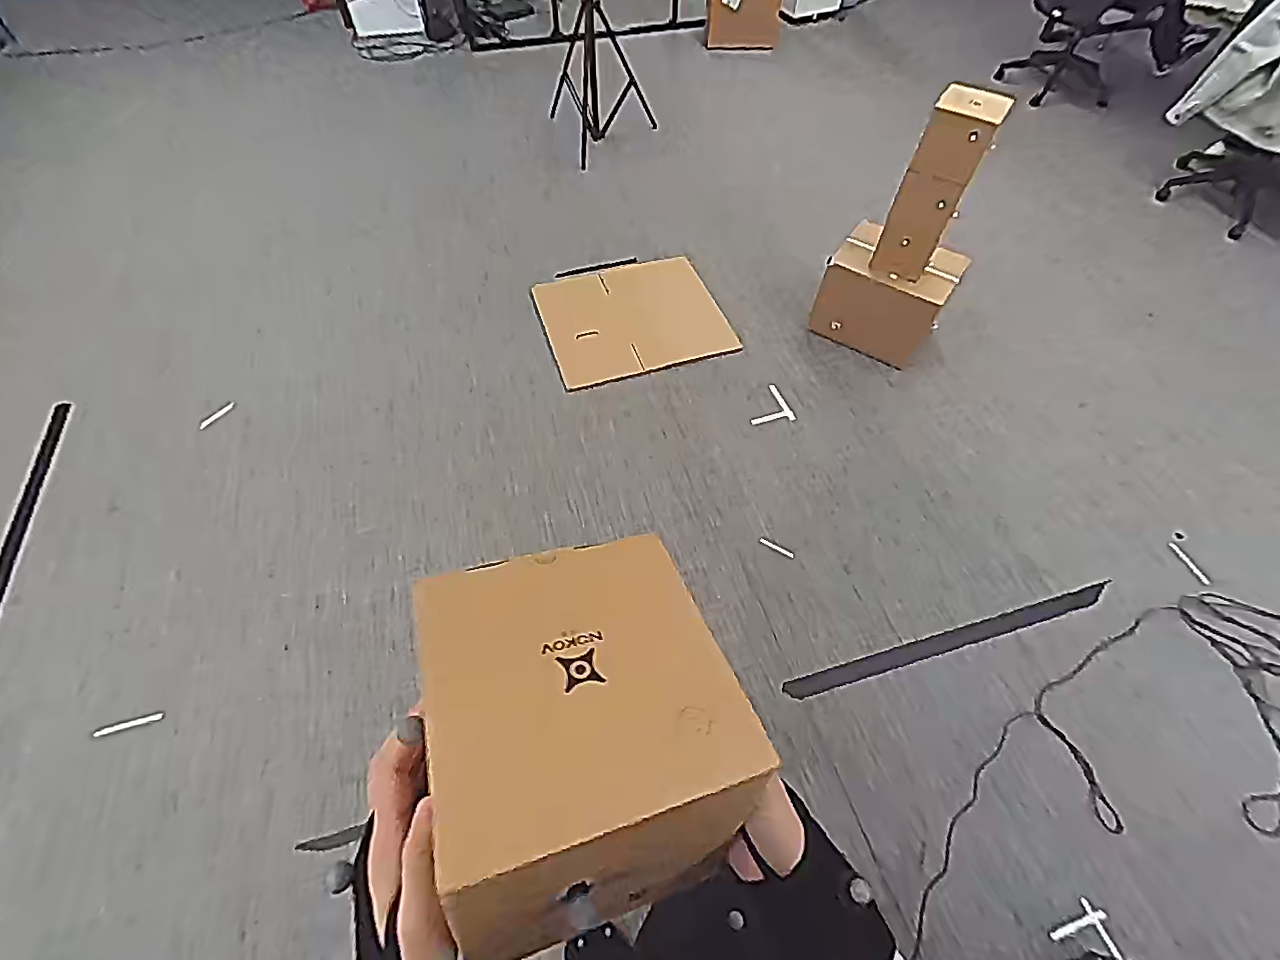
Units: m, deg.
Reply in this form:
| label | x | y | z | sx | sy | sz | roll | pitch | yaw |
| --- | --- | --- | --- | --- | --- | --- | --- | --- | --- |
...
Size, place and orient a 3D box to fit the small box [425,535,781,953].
| label | x | y | z | sx | sy | sz | roll | pitch | yaw |
| --- | --- | --- | --- | --- | --- | --- | --- | --- | --- |
| small box | -0.038 | 0.167 | 0.355 | 0.168 | 0.176 | 0.179 | -9 | 40 | -20 |

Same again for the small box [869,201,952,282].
| label | x | y | z | sx | sy | sz | roll | pitch | yaw |
| --- | --- | --- | --- | --- | --- | --- | --- | --- | --- |
| small box | 0.900 | -0.796 | 1.816 | 0.179 | 0.176 | 0.168 | 28 | 62 | 16 |

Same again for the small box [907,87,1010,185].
| label | x | y | z | sx | sy | sz | roll | pitch | yaw |
| --- | --- | --- | --- | --- | --- | --- | --- | --- | --- |
| small box | 0.900 | -0.972 | 1.537 | 0.179 | 0.176 | 0.168 | 29 | 61 | 17 |
